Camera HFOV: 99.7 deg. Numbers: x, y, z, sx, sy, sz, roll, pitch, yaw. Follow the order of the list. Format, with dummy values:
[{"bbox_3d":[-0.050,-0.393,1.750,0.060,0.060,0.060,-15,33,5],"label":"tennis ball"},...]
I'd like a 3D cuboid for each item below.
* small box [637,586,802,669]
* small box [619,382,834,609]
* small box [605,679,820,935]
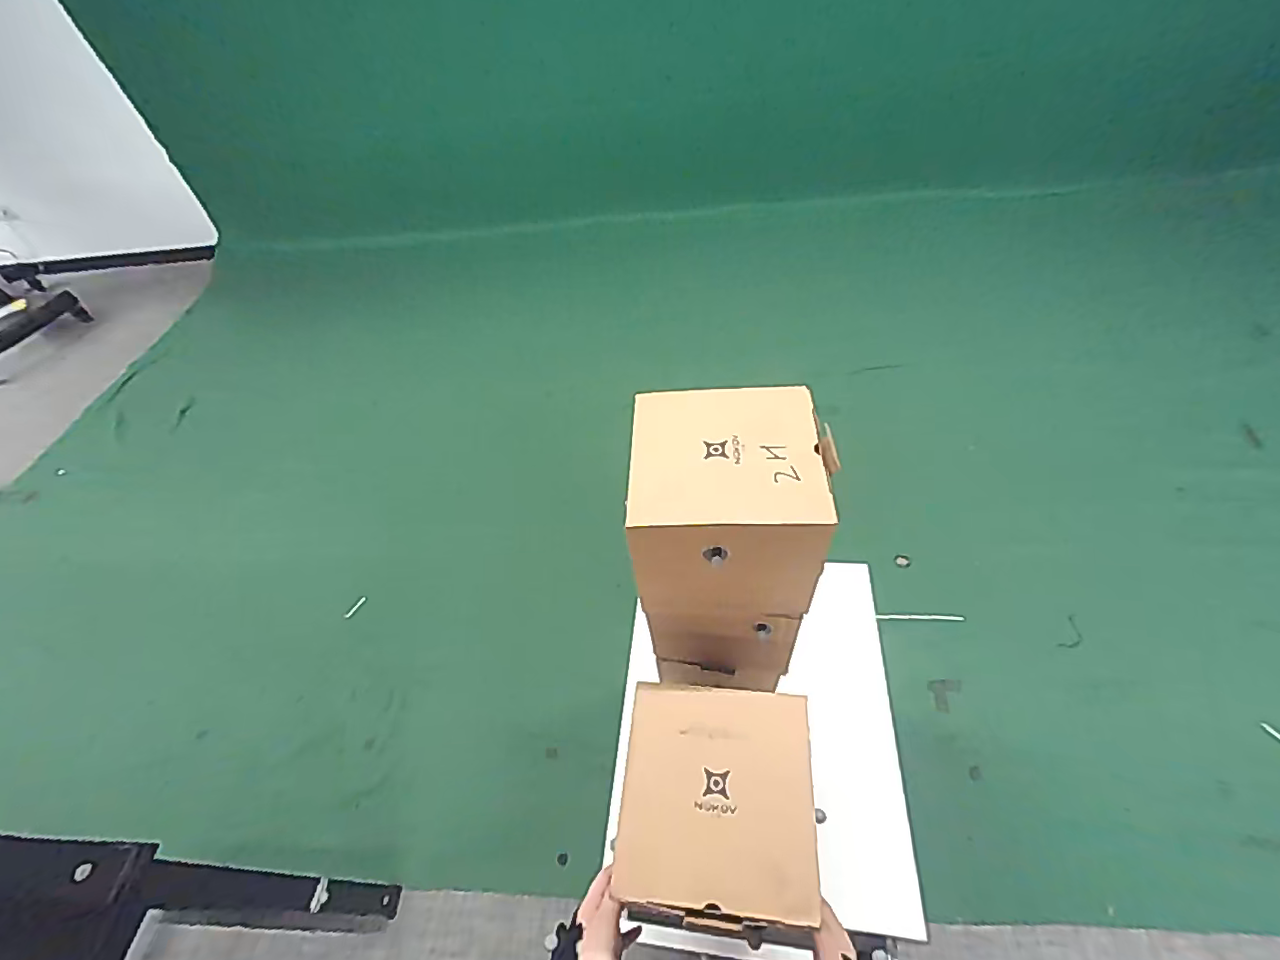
[{"bbox_3d":[0.103,0.120,0.675,0.179,0.176,0.168,5,52,10],"label":"small box"},{"bbox_3d":[0.081,0.020,0.545,0.179,0.176,0.168,-1,52,6],"label":"small box"},{"bbox_3d":[0.070,0.312,0.520,0.168,0.176,0.179,2,50,8],"label":"small box"}]
